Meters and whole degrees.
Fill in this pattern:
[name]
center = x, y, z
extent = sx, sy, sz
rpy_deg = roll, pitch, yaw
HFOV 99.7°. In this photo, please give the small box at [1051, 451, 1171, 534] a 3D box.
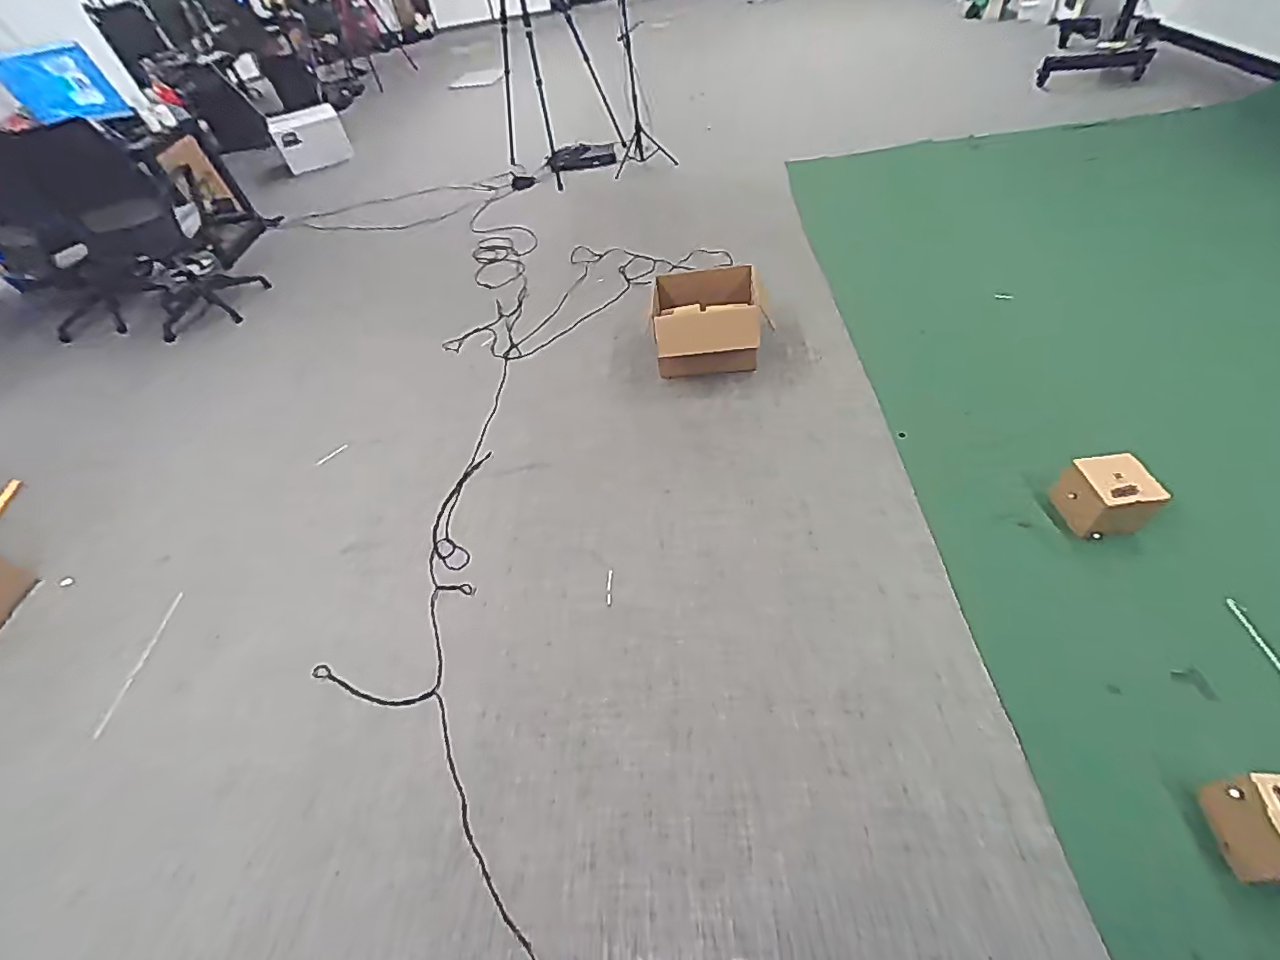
[small box]
center = 1.341, 0.043, 1.555
extent = 0.168, 0.176, 0.179
rpy_deg = -6, 48, 4
